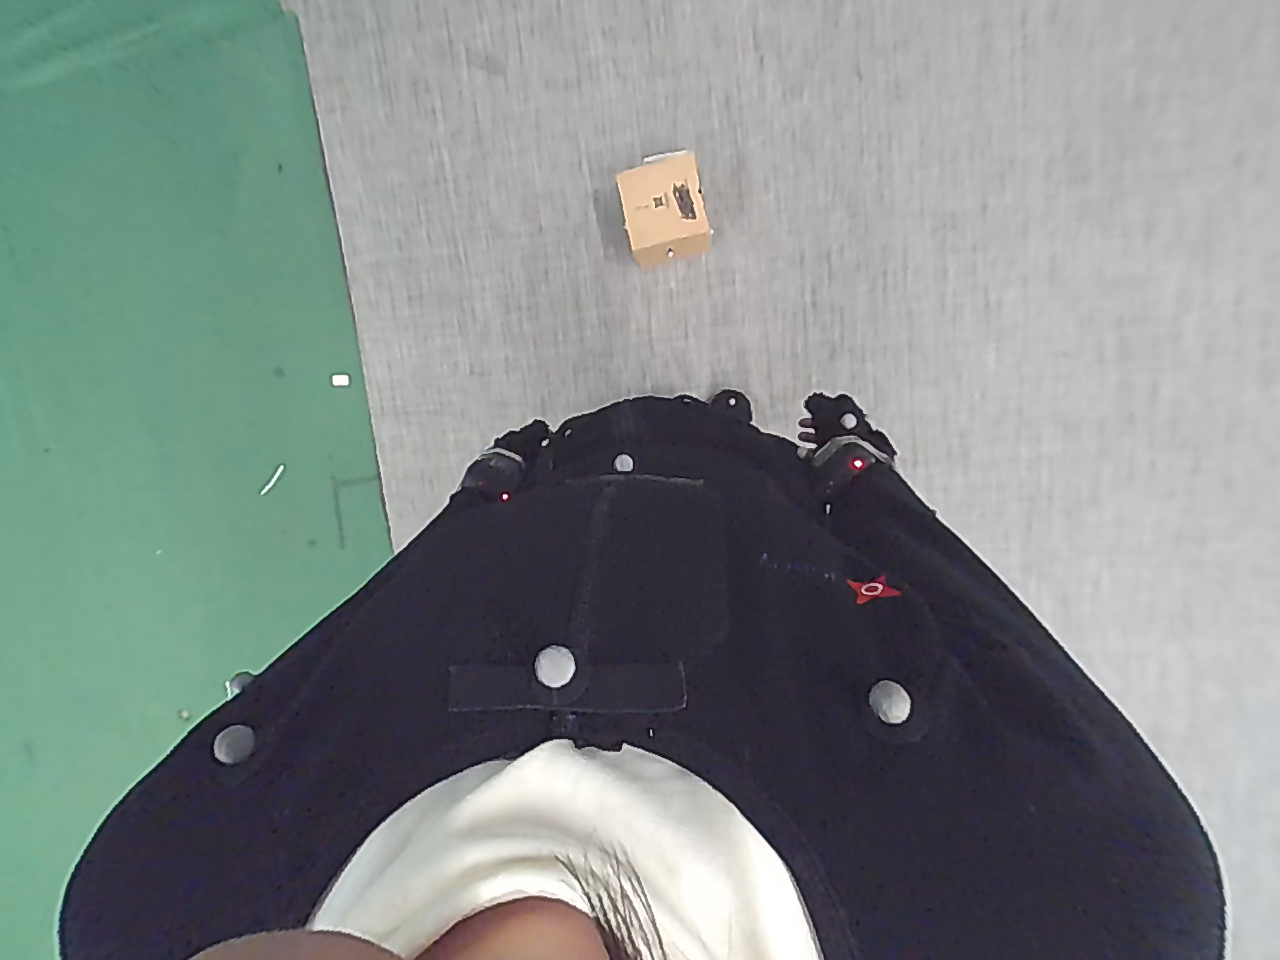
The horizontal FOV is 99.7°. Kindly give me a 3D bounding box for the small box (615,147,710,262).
[{"bbox_3d":[0.056,-0.624,1.245,0.179,0.176,0.168,-14,98,9],"label":"small box"}]
